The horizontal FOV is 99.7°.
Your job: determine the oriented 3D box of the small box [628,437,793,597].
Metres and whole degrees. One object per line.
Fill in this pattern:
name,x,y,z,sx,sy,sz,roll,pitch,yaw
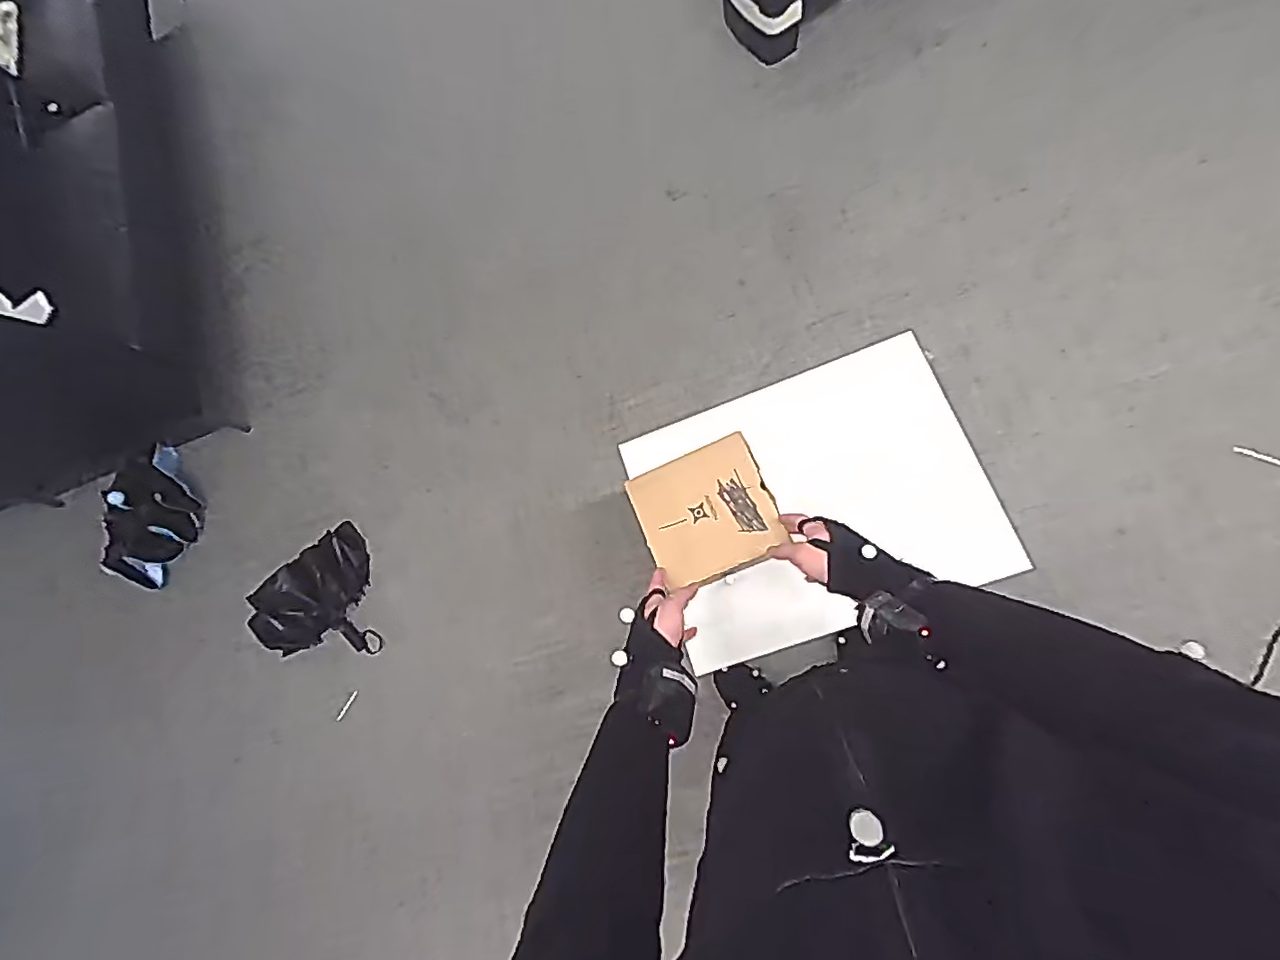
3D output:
small box,0.104,0.061,0.788,0.179,0.176,0.168,-24,74,7
